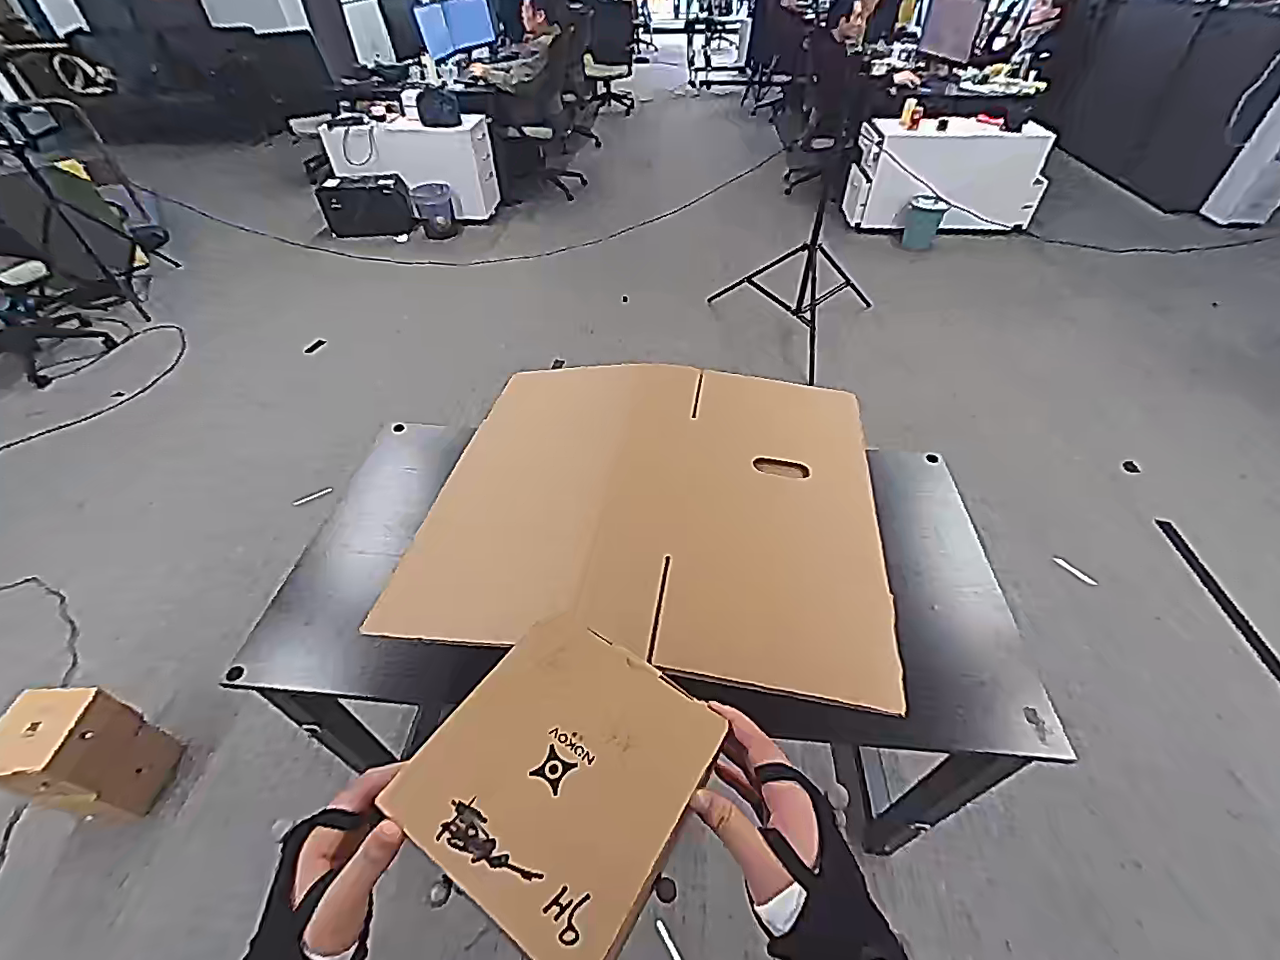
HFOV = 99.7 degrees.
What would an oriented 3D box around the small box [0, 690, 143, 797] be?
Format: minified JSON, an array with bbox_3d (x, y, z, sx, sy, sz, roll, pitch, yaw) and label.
[{"bbox_3d":[-1.281,0.590,1.204,0.168,0.176,0.179,-1,44,-2],"label":"small box"}]

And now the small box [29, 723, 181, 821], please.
[{"bbox_3d":[-1.278,0.708,1.315,0.168,0.176,0.179,0,46,1],"label":"small box"}]
